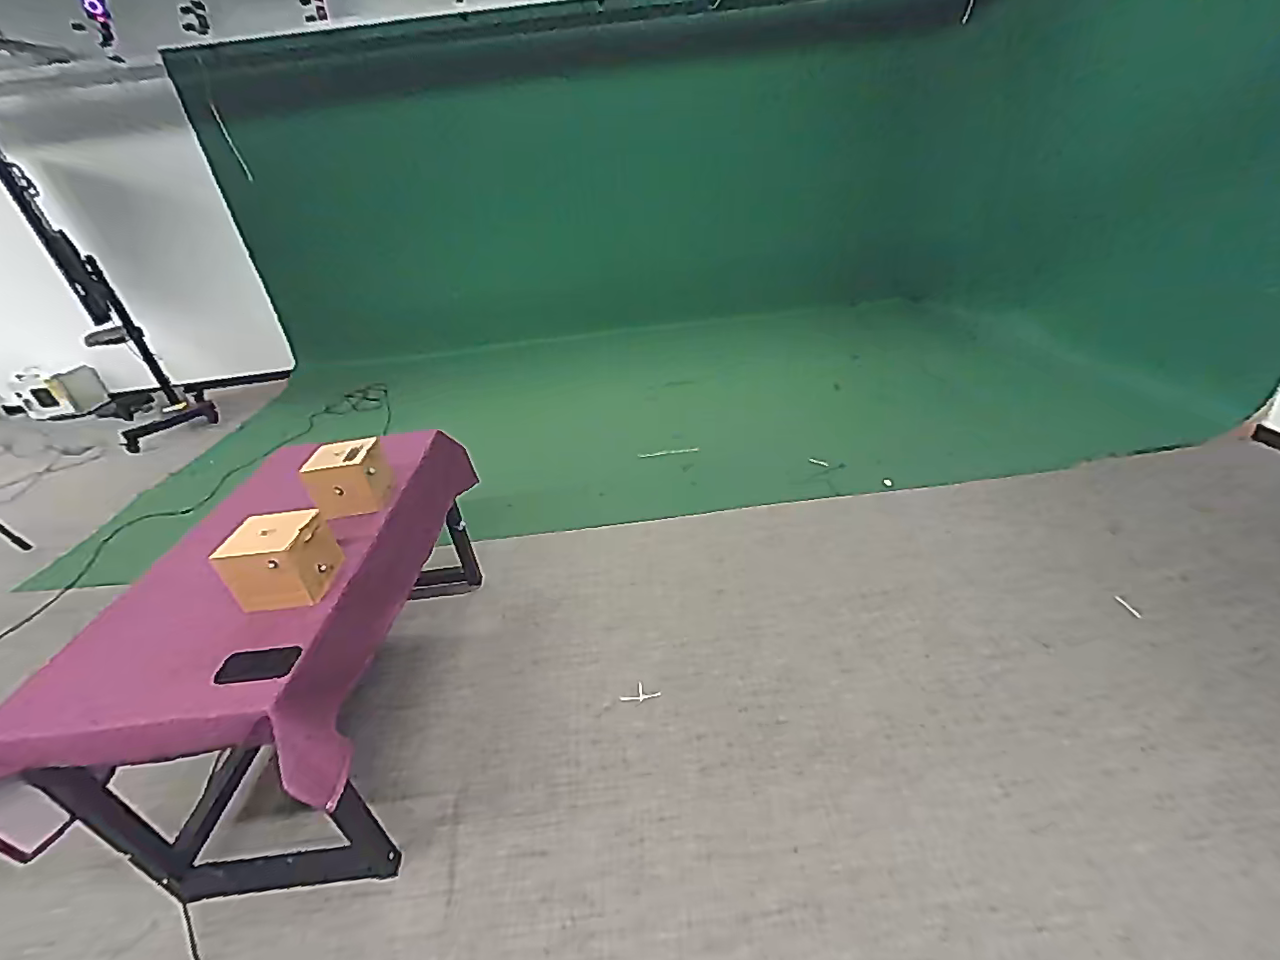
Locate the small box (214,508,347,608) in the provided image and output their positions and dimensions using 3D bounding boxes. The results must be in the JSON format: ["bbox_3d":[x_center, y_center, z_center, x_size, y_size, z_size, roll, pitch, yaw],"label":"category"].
[{"bbox_3d":[-0.843,0.187,1.289,0.179,0.176,0.168,-6,31,1],"label":"small box"}]
